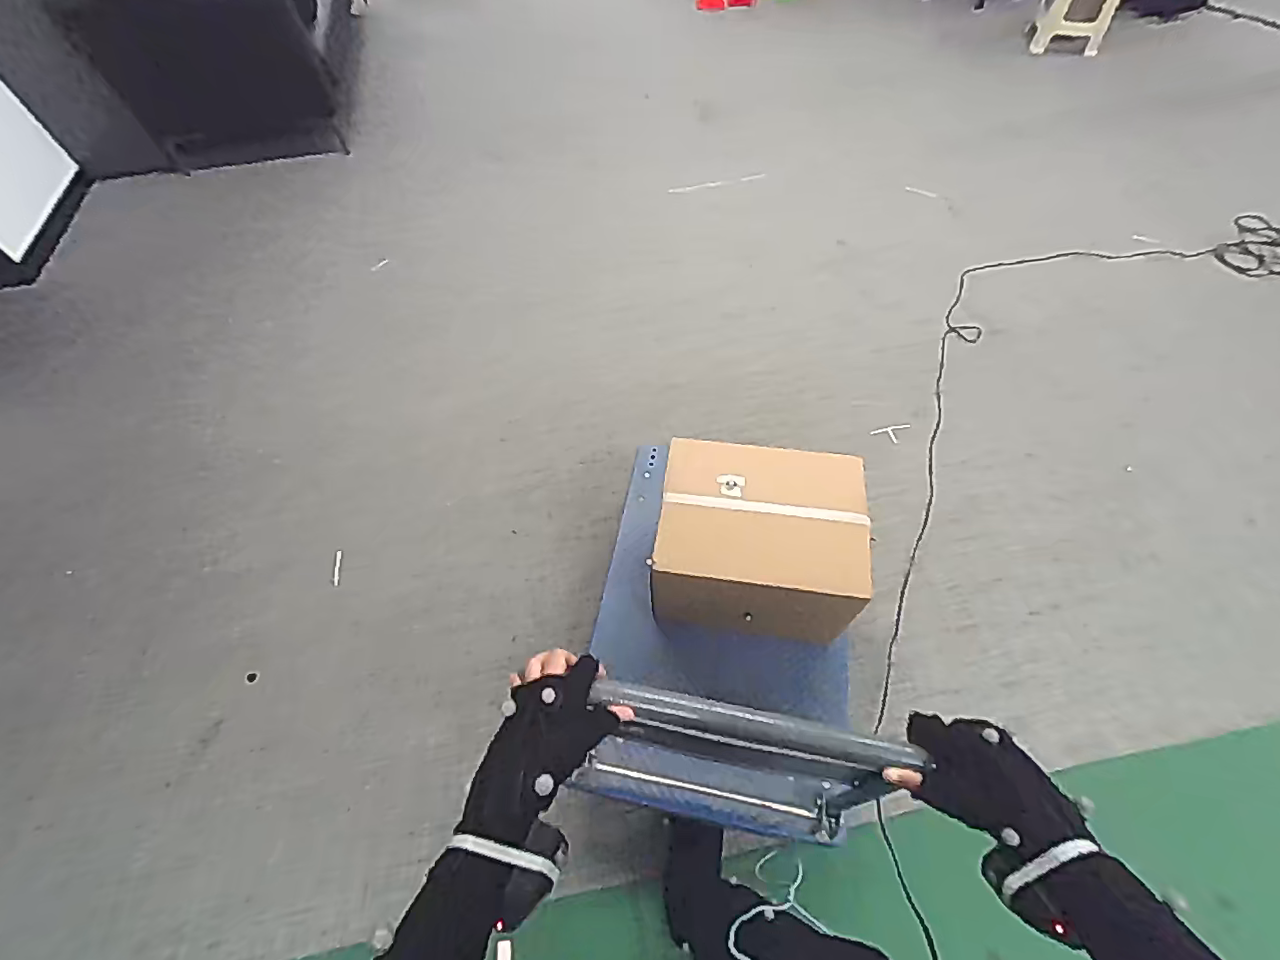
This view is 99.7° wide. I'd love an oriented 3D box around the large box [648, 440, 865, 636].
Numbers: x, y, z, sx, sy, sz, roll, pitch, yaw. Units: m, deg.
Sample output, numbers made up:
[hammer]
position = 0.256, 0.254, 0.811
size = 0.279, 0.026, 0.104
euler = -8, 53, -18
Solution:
[large box]
position = 0.244, 0.135, 1.201
size = 0.408, 0.320, 0.320
euler = 6, 58, 8
